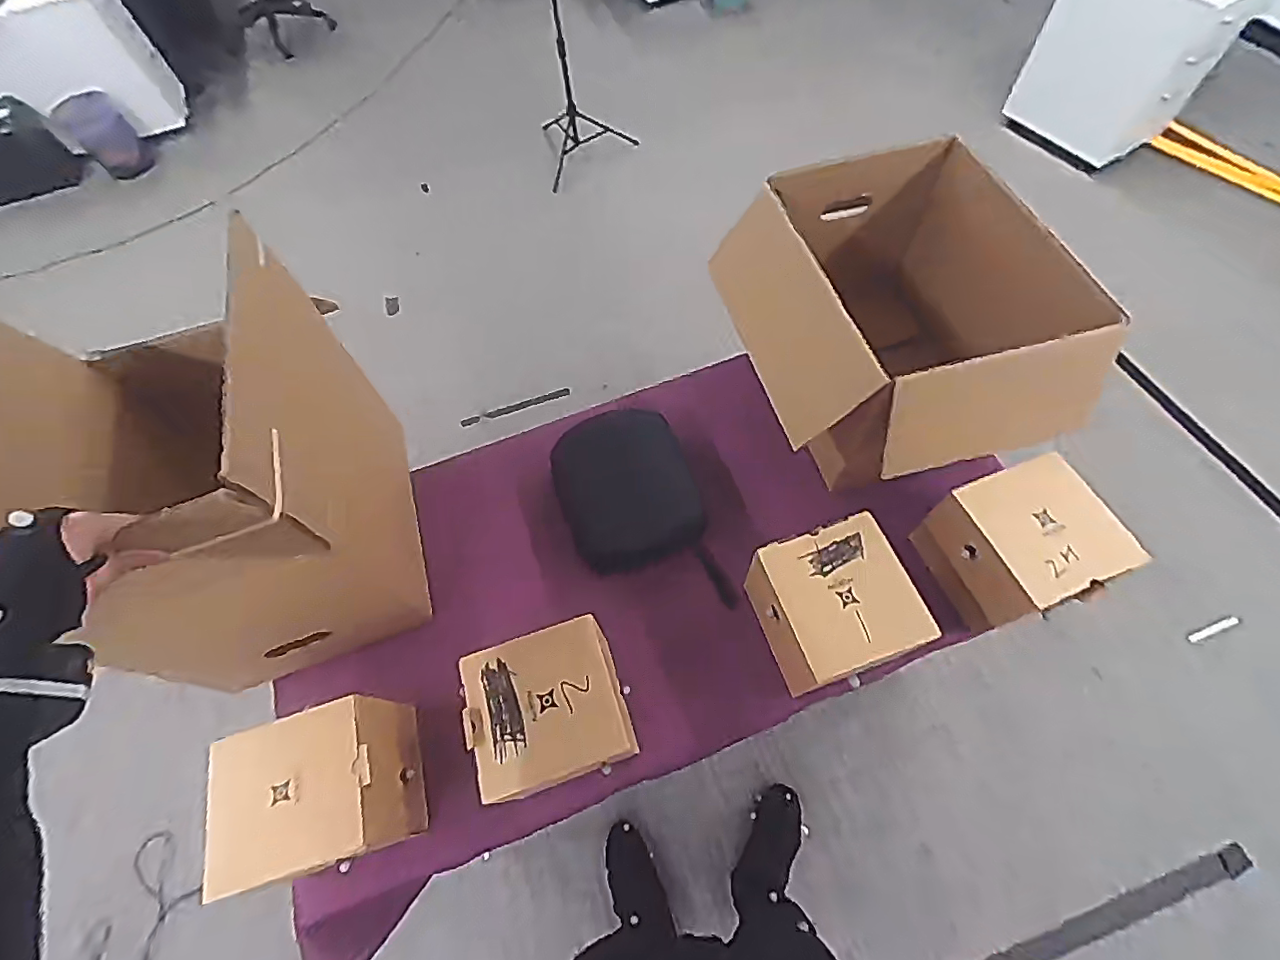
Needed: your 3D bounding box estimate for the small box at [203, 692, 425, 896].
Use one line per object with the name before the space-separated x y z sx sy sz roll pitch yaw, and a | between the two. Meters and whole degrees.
small box | -0.399 0.389 0.686 0.179 0.176 0.168 -17 63 -6
